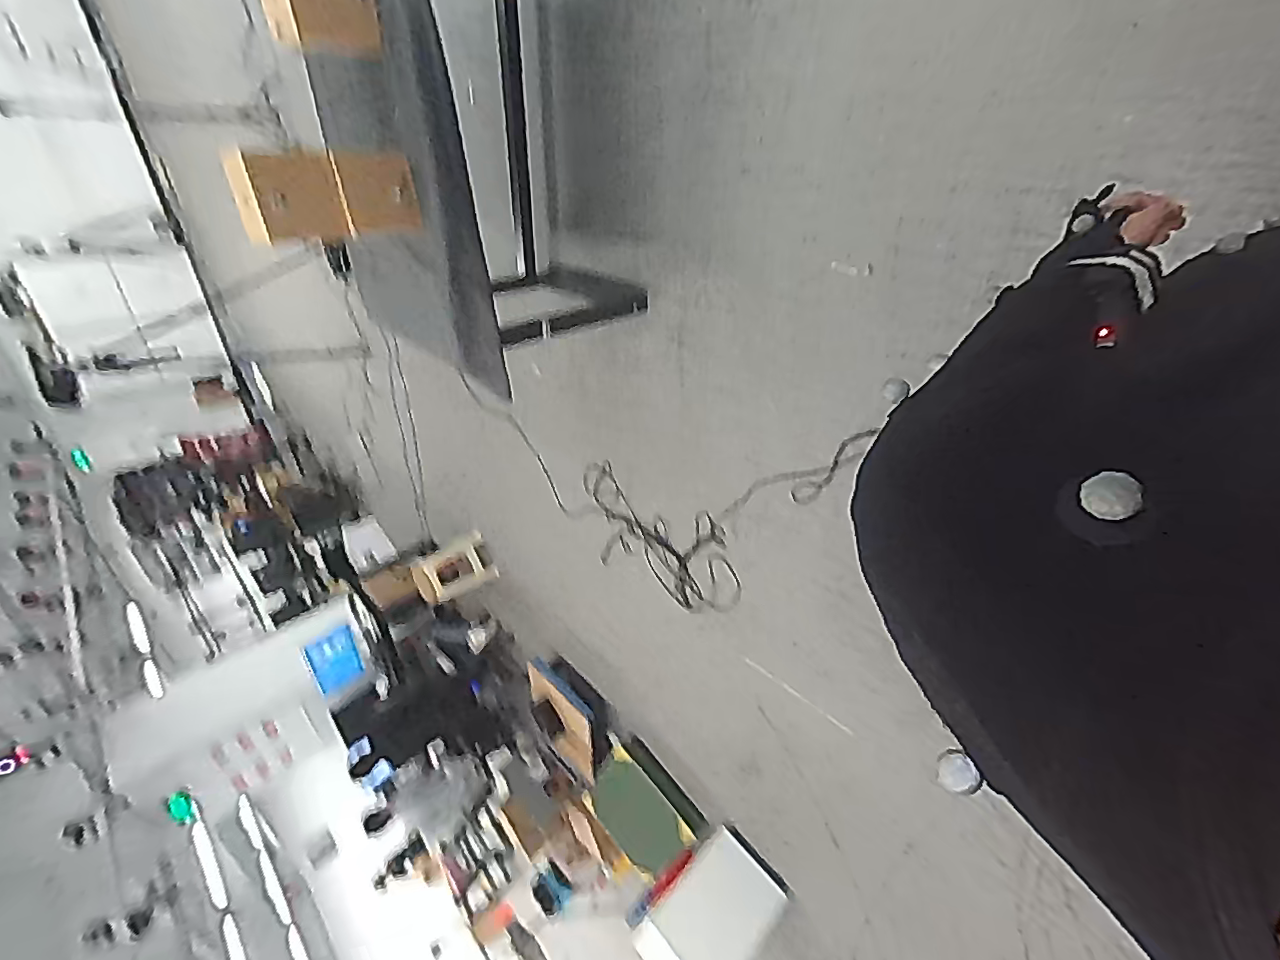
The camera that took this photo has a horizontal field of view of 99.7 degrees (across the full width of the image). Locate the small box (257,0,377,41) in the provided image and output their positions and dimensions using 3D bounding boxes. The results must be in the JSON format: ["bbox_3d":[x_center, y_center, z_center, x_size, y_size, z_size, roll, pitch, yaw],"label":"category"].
[{"bbox_3d":[-0.655,-1.000,1.077,0.168,0.176,0.179,30,132,35],"label":"small box"}]

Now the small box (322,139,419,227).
[{"bbox_3d":[-0.644,-0.686,1.259,0.179,0.176,0.168,20,126,41],"label":"small box"}]

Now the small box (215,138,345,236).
[{"bbox_3d":[-0.768,-0.633,1.169,0.168,0.176,0.179,23,128,38],"label":"small box"}]
